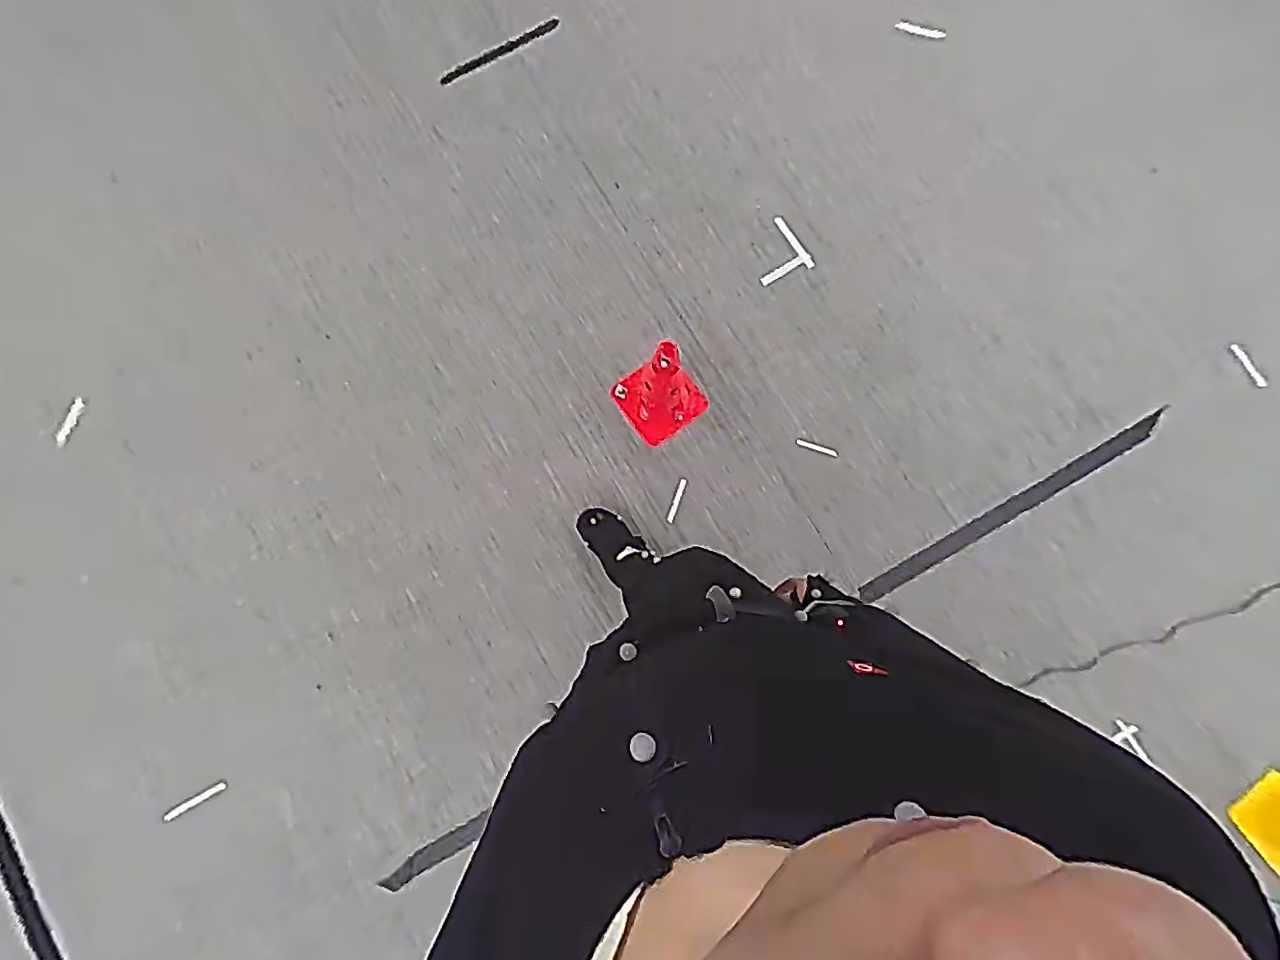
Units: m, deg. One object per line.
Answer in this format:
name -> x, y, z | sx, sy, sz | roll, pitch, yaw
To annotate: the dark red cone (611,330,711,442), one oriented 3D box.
dark red cone -> 0.058, -0.242, 1.226 | 0.202, 0.394, 0.201 | -37, 85, -6
